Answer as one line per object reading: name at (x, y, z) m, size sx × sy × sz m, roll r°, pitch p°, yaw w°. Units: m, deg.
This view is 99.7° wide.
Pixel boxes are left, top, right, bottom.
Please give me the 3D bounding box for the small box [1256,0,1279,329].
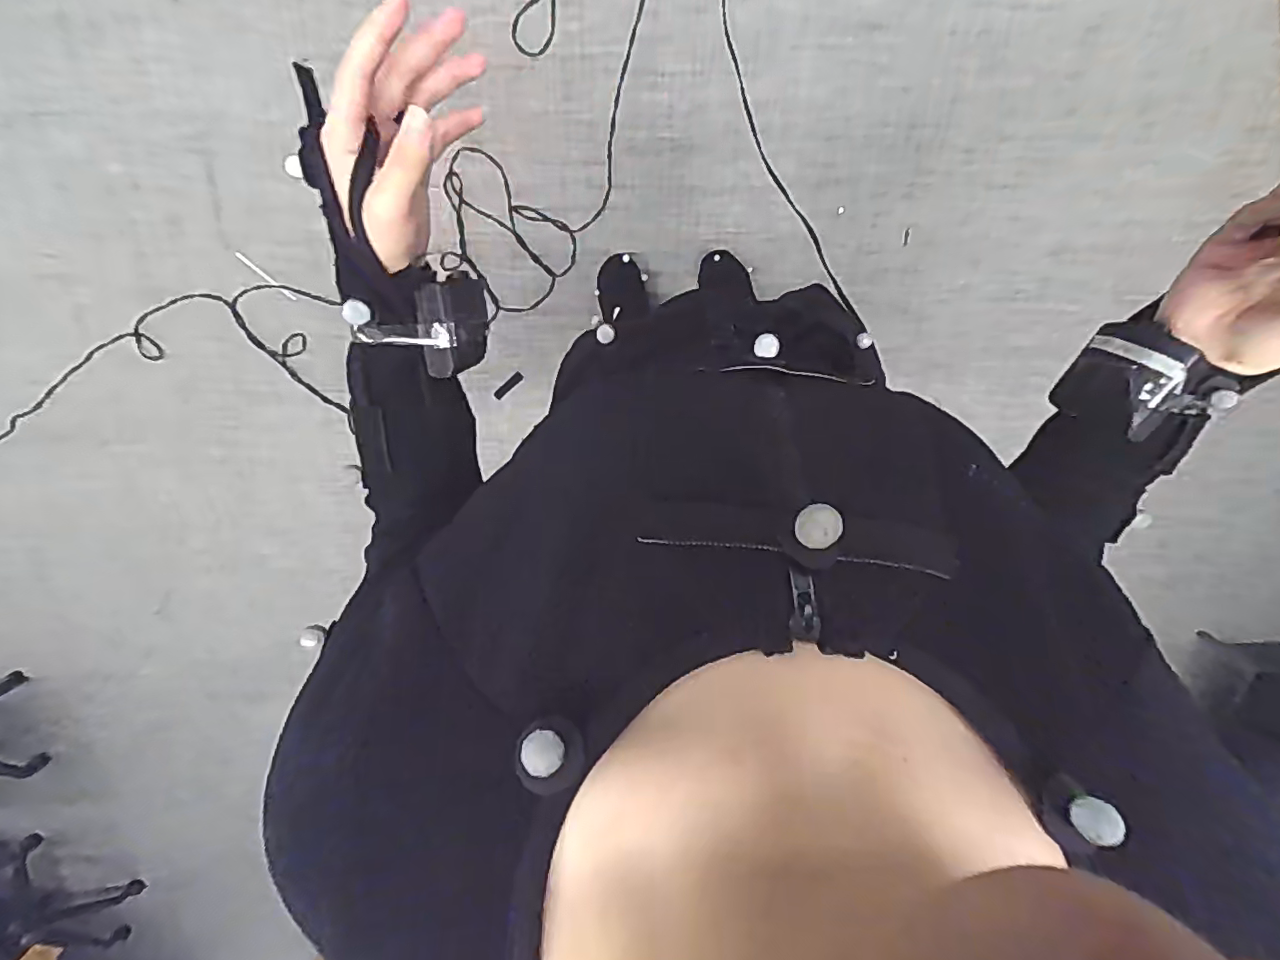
small box at (0.335, -0.137, 0.167) m, size 0.168 × 0.176 × 0.179 m, roll -42°, pitch 113°, yaw -22°
